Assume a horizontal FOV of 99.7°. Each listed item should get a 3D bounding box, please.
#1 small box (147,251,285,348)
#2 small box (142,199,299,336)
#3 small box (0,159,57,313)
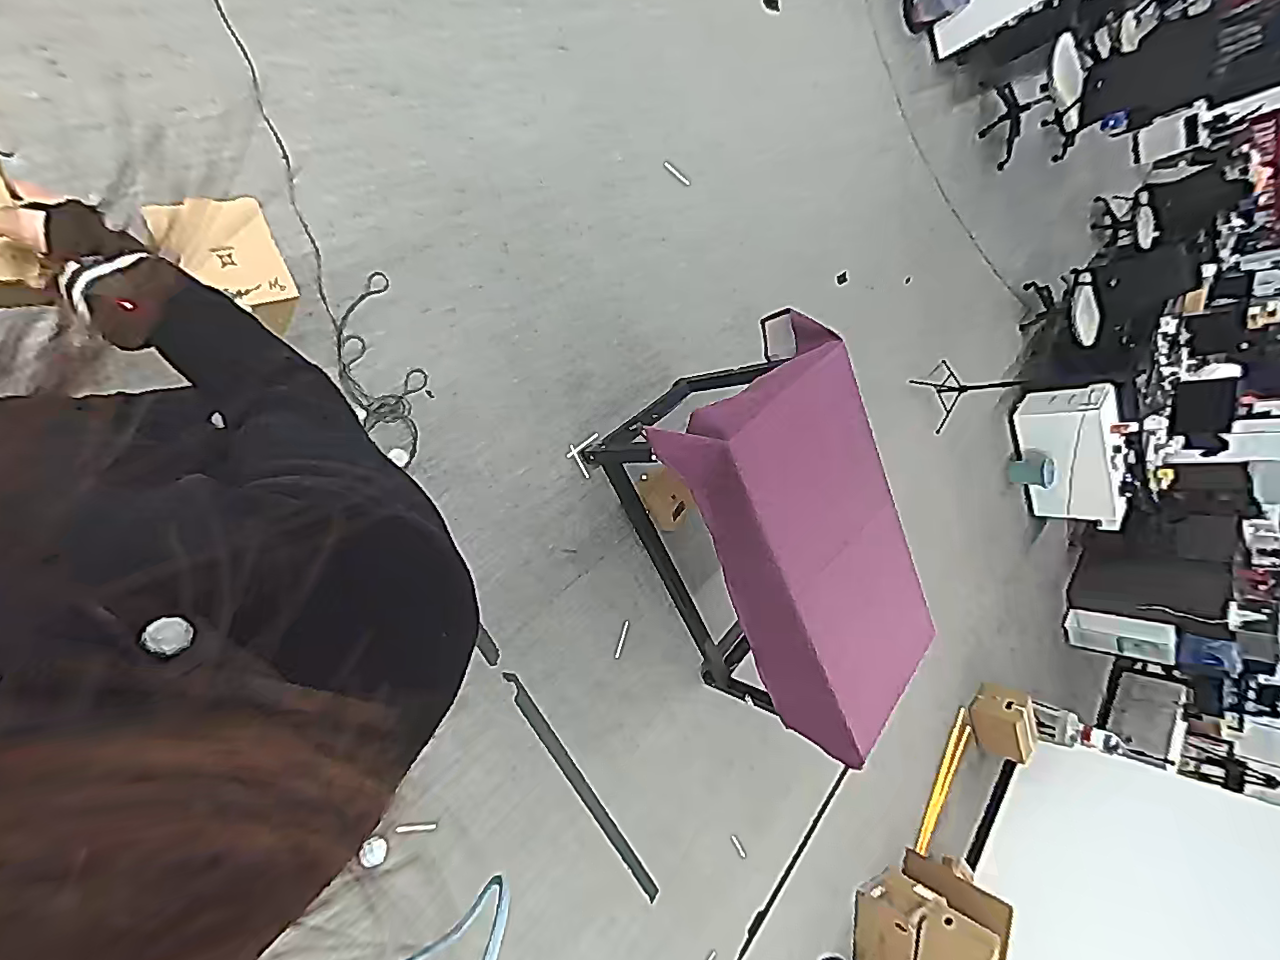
[{"bbox_3d":[-0.853,-0.387,1.113,0.179,0.176,0.168,-36,112,-31],"label":"small box"},{"bbox_3d":[-0.754,-0.381,0.982,0.168,0.176,0.179,-28,107,-33],"label":"small box"},{"bbox_3d":[-0.695,-0.253,0.503,0.168,0.176,0.179,-24,112,-40],"label":"small box"}]
